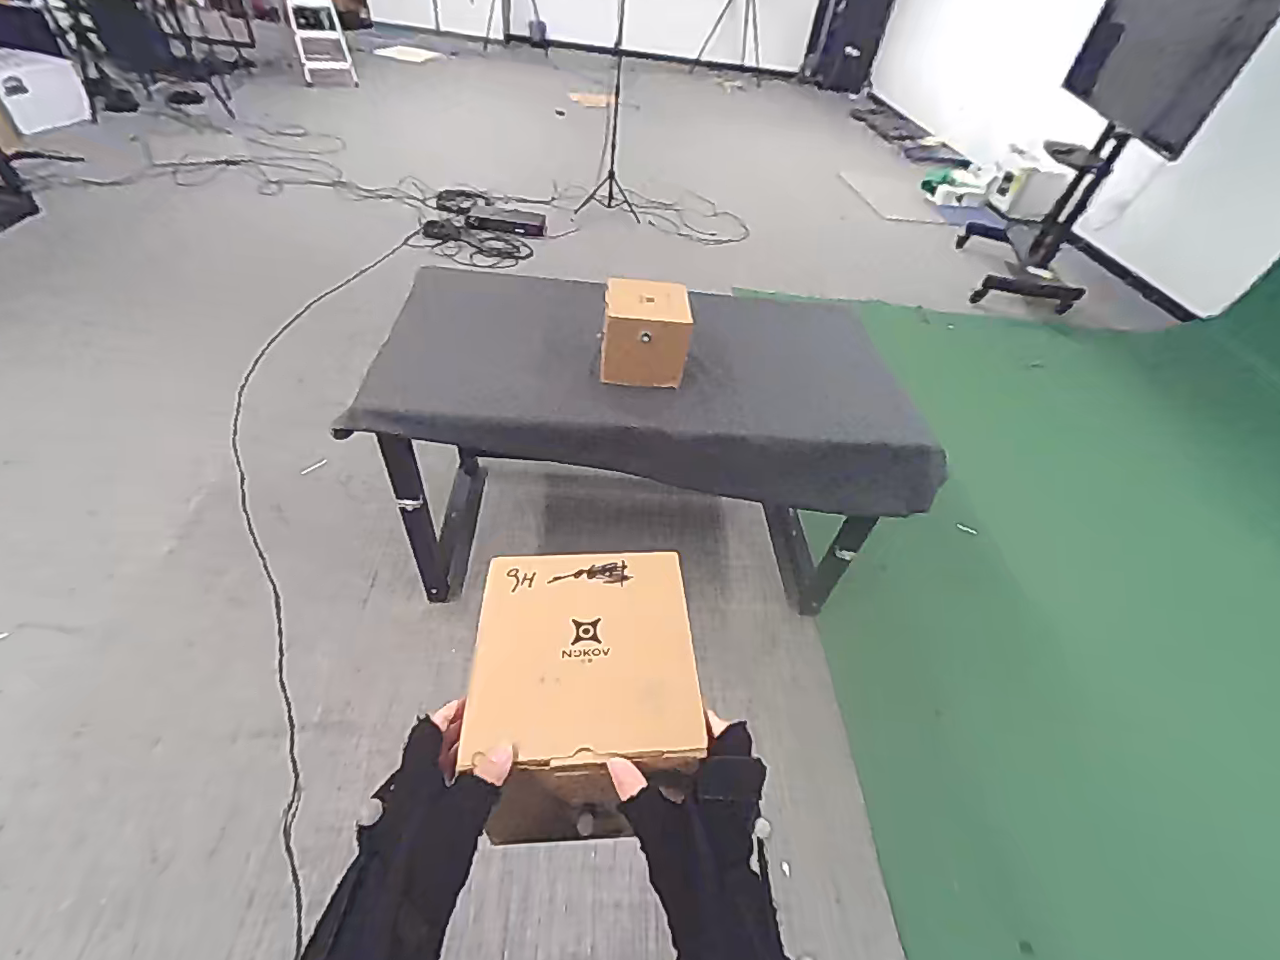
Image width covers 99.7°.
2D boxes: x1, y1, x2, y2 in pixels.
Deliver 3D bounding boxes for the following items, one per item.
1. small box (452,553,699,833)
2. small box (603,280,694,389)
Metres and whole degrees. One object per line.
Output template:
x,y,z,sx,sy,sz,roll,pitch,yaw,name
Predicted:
-0.047,0.184,0.465,0.168,0.176,0.179,-1,43,-4,small box
0.011,-0.316,1.185,0.179,0.176,0.168,4,47,-7,small box
